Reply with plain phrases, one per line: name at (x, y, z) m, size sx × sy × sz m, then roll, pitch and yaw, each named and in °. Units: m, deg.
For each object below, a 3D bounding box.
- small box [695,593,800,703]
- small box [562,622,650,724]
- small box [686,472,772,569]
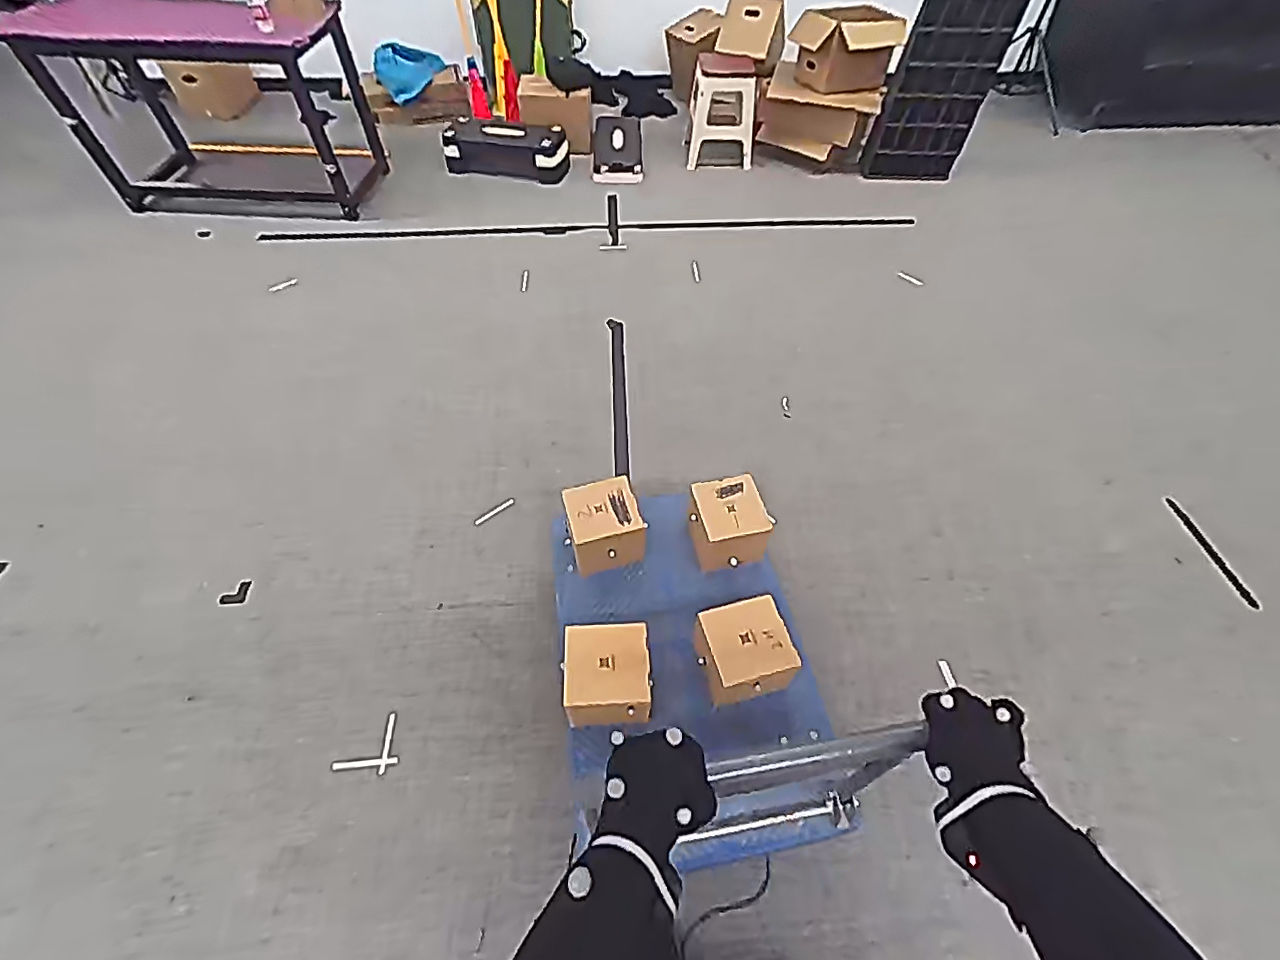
small box at (0.228, 0.379, 1.209) m, size 0.179 × 0.176 × 0.168 m, roll -12°, pitch 54°, yaw -10°
small box at (-0.072, 0.421, 1.174) m, size 0.179 × 0.176 × 0.168 m, roll -2°, pitch 53°, yaw -4°
small box at (0.222, 0.108, 1.412) m, size 0.168 × 0.176 × 0.179 m, roll -10°, pitch 55°, yaw -8°
